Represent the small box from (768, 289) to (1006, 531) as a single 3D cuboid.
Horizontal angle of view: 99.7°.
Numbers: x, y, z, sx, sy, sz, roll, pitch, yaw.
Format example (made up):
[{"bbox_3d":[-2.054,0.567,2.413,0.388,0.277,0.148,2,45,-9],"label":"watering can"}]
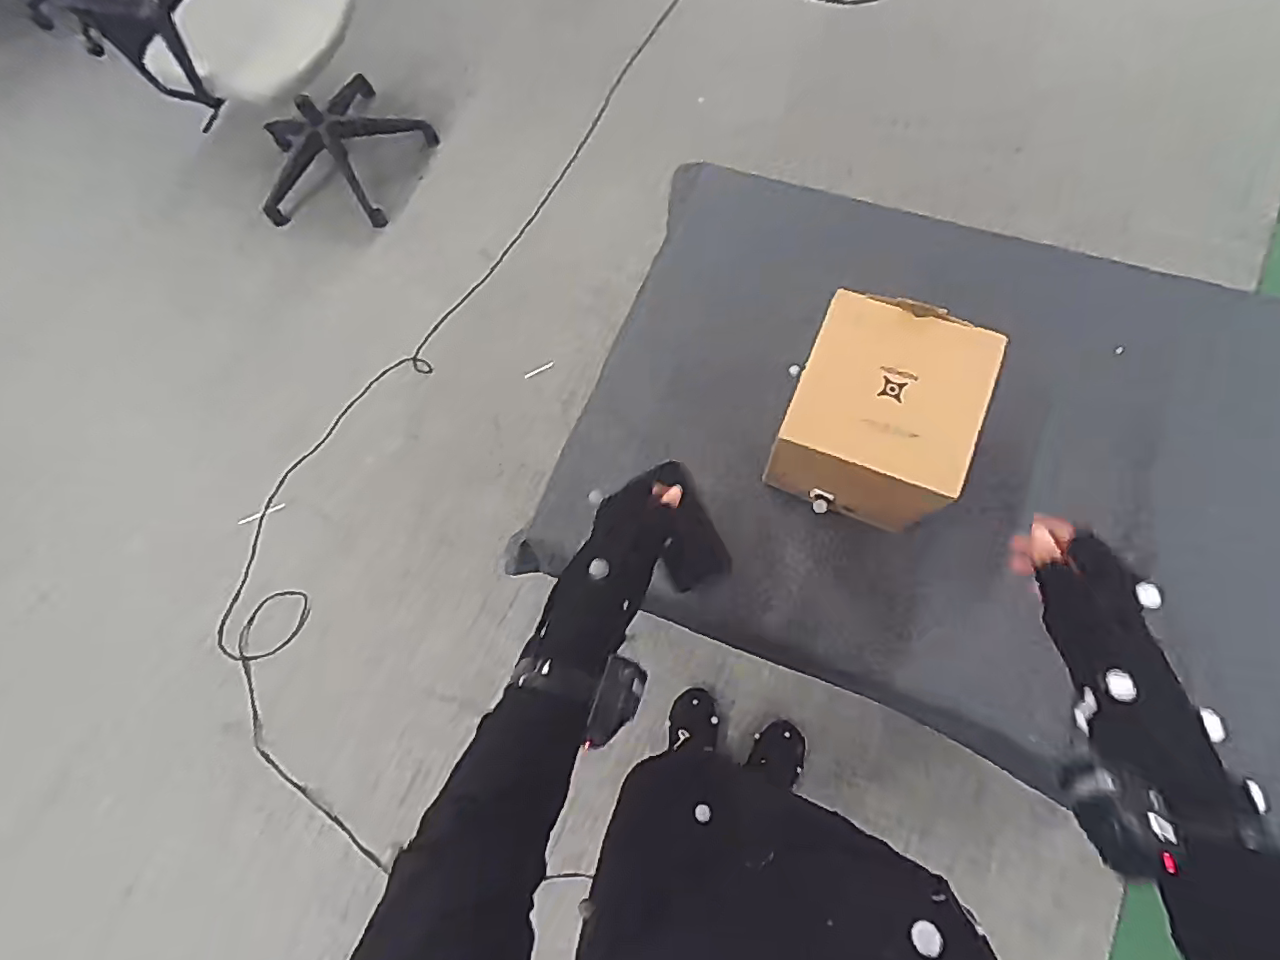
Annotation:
[{"bbox_3d":[0.248,-0.065,0.586,0.168,0.176,0.179,23,78,13],"label":"small box"}]
